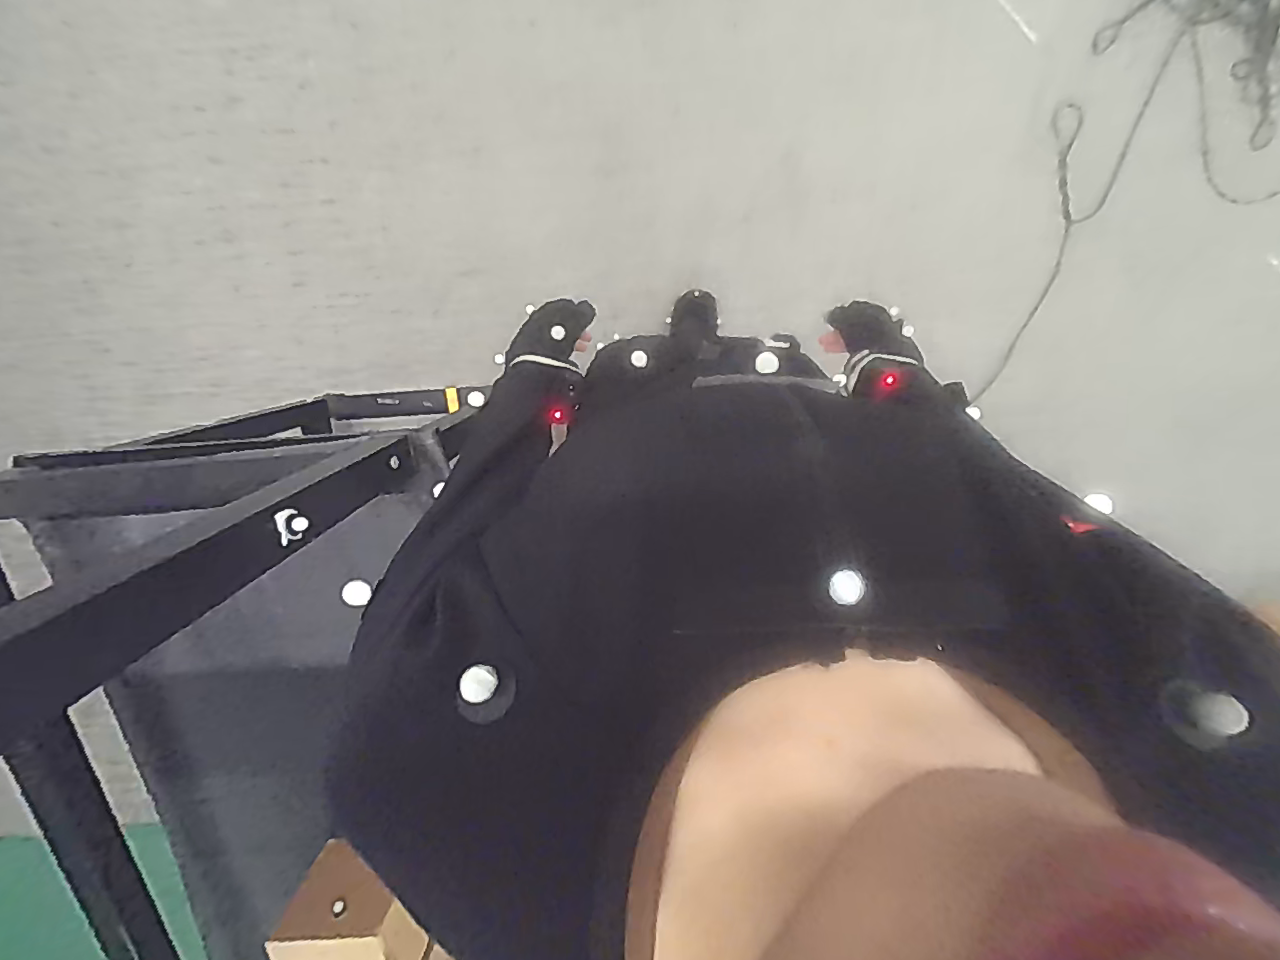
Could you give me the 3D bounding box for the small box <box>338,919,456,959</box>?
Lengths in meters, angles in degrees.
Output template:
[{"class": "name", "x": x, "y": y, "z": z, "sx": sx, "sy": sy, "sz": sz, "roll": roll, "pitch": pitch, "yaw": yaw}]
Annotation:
[{"class": "small box", "x": -0.434, "y": 0.900, "z": 0.930, "sx": 0.179, "sy": 0.176, "sz": 0.168, "roll": -5, "pitch": 107, "yaw": 4}]
